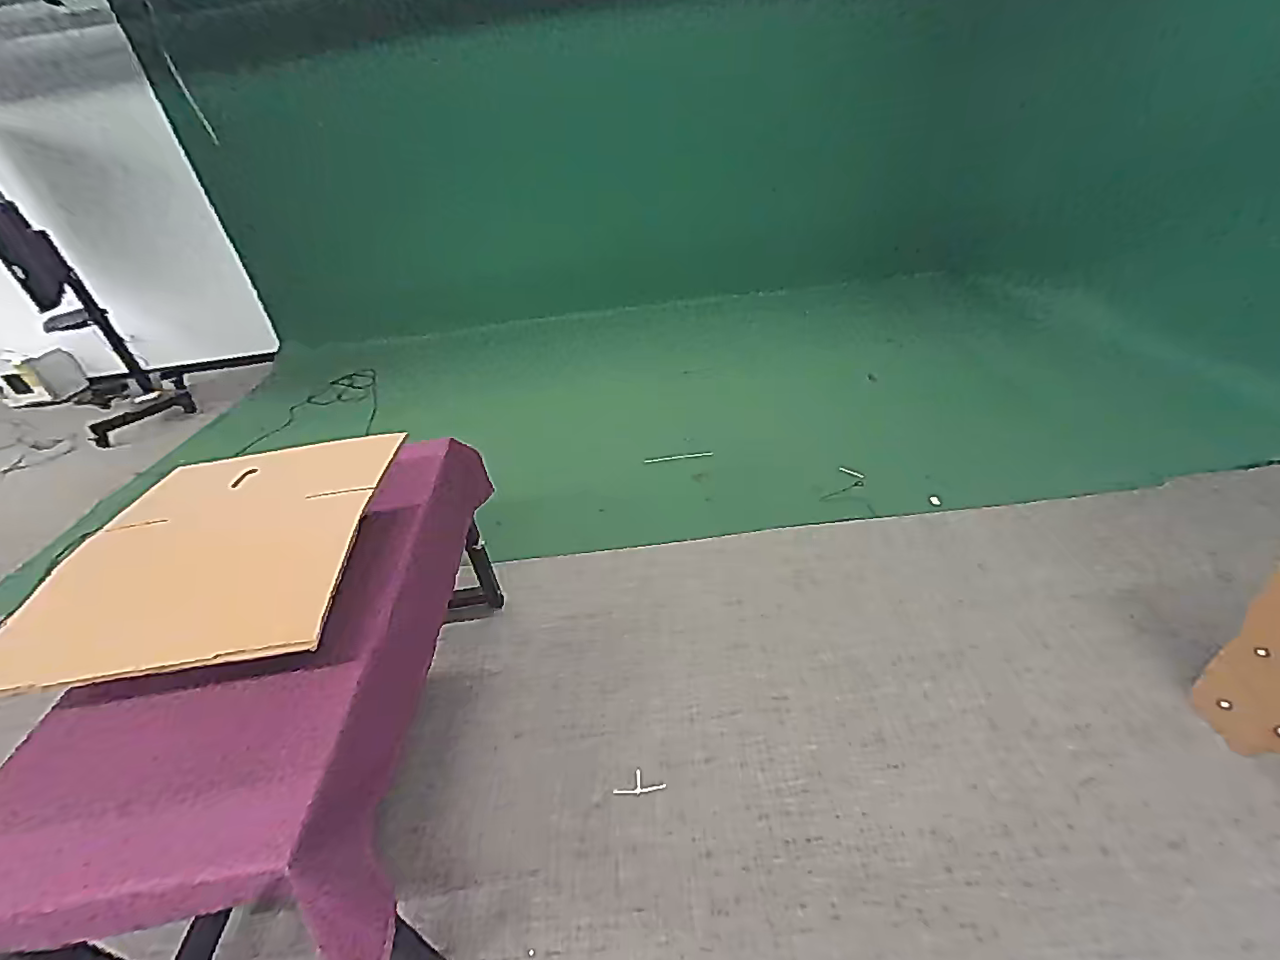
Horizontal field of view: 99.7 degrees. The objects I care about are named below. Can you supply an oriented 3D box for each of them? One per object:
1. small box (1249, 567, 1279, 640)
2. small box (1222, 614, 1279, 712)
[{"bbox_3d":[1.565,0.299,1.218,0.168,0.176,0.179,-4,35,7],"label":"small box"},{"bbox_3d":[1.586,0.439,1.299,0.168,0.176,0.179,-6,34,5],"label":"small box"}]
